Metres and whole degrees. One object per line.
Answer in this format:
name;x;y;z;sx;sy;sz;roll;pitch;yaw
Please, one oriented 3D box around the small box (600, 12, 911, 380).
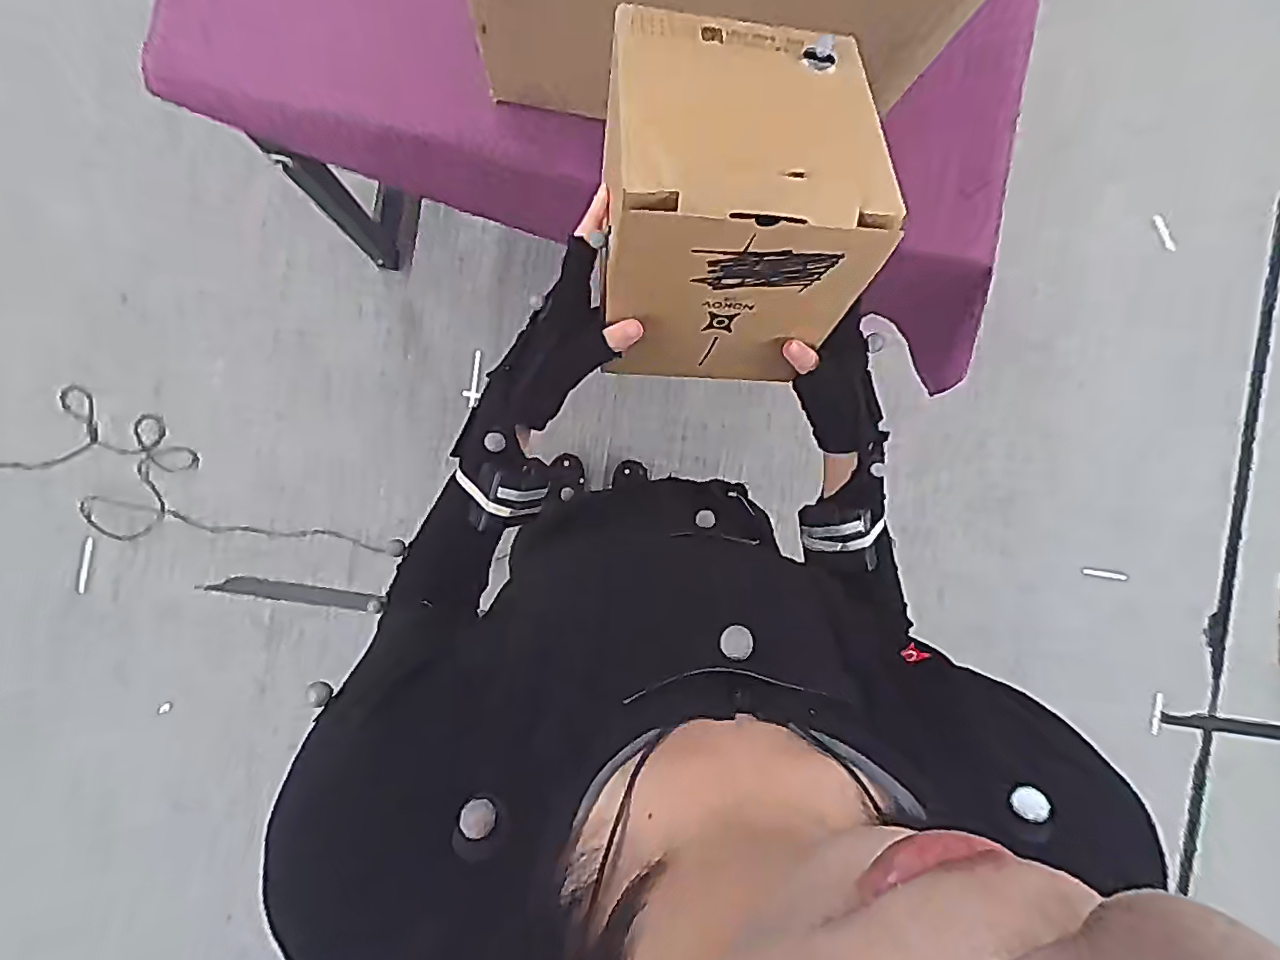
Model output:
small box;0.058;-0.194;0.399;0.168;0.179;0.176;1;67;-8
